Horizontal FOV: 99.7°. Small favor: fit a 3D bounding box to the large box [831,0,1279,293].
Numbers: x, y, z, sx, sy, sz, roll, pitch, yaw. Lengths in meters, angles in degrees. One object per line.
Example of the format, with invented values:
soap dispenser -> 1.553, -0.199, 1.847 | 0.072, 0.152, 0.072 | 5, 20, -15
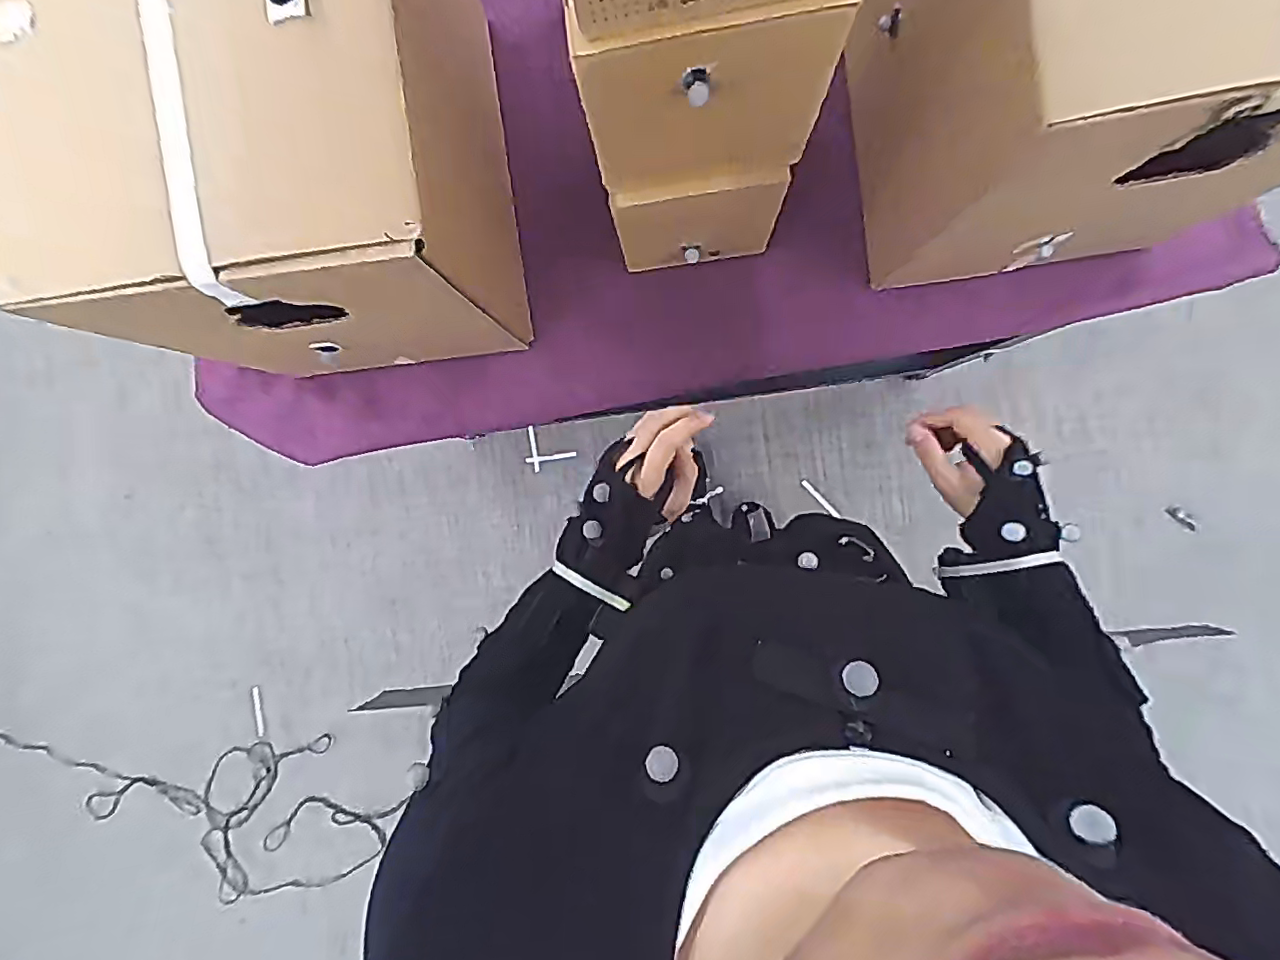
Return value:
large box -> 0.378, -0.430, 0.468 | 0.320, 0.320, 0.408 | -8, 90, 5
